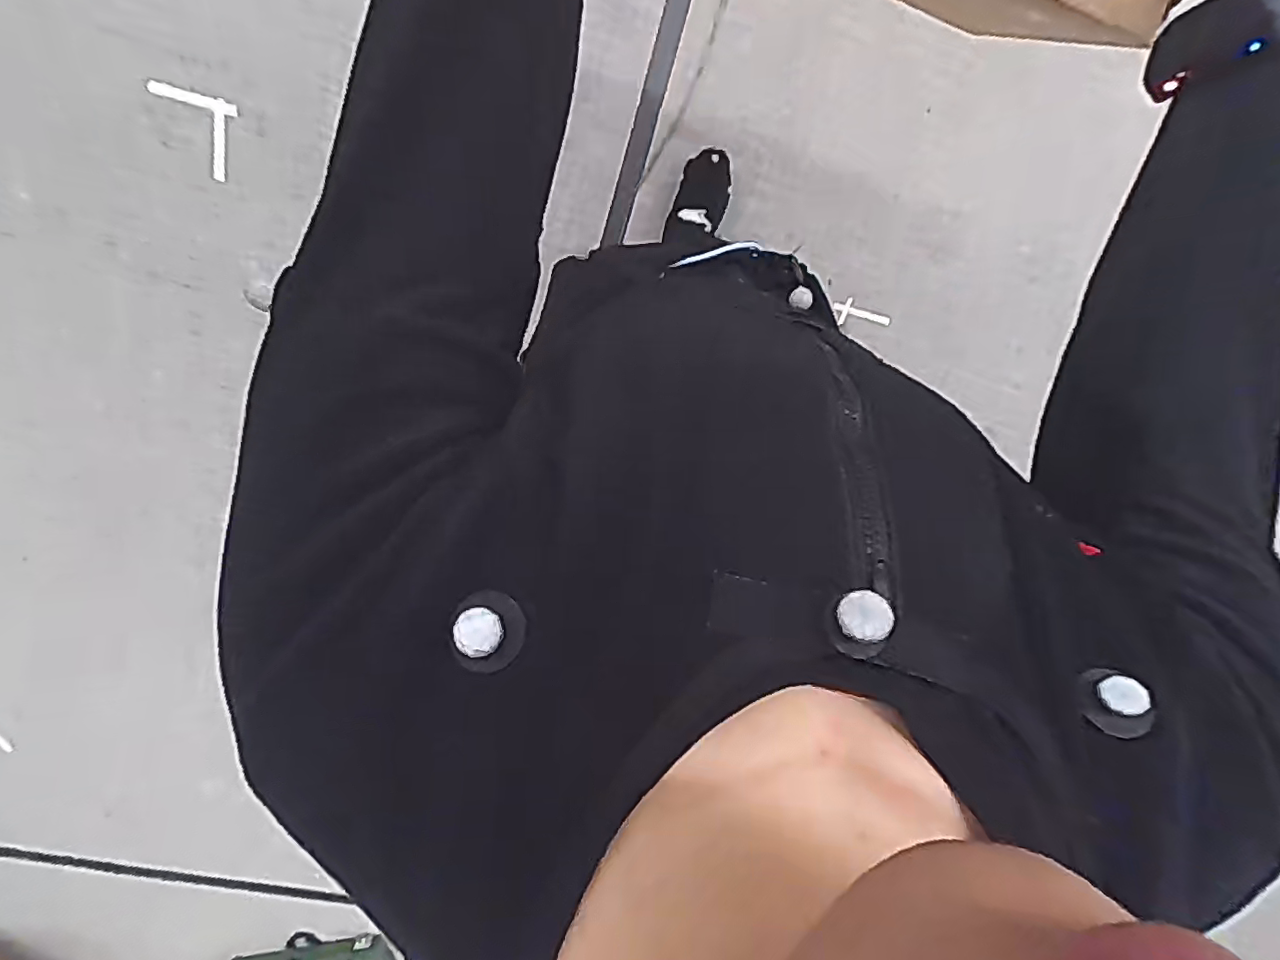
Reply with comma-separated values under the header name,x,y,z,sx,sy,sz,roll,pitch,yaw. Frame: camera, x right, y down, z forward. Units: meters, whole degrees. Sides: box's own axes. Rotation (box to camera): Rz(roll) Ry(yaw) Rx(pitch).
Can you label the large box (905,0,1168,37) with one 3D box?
name,x,y,z,sx,sy,sz,roll,pitch,yaw
large box,0.225,-0.575,0.378,0.408,0.320,0.320,15,131,-10
